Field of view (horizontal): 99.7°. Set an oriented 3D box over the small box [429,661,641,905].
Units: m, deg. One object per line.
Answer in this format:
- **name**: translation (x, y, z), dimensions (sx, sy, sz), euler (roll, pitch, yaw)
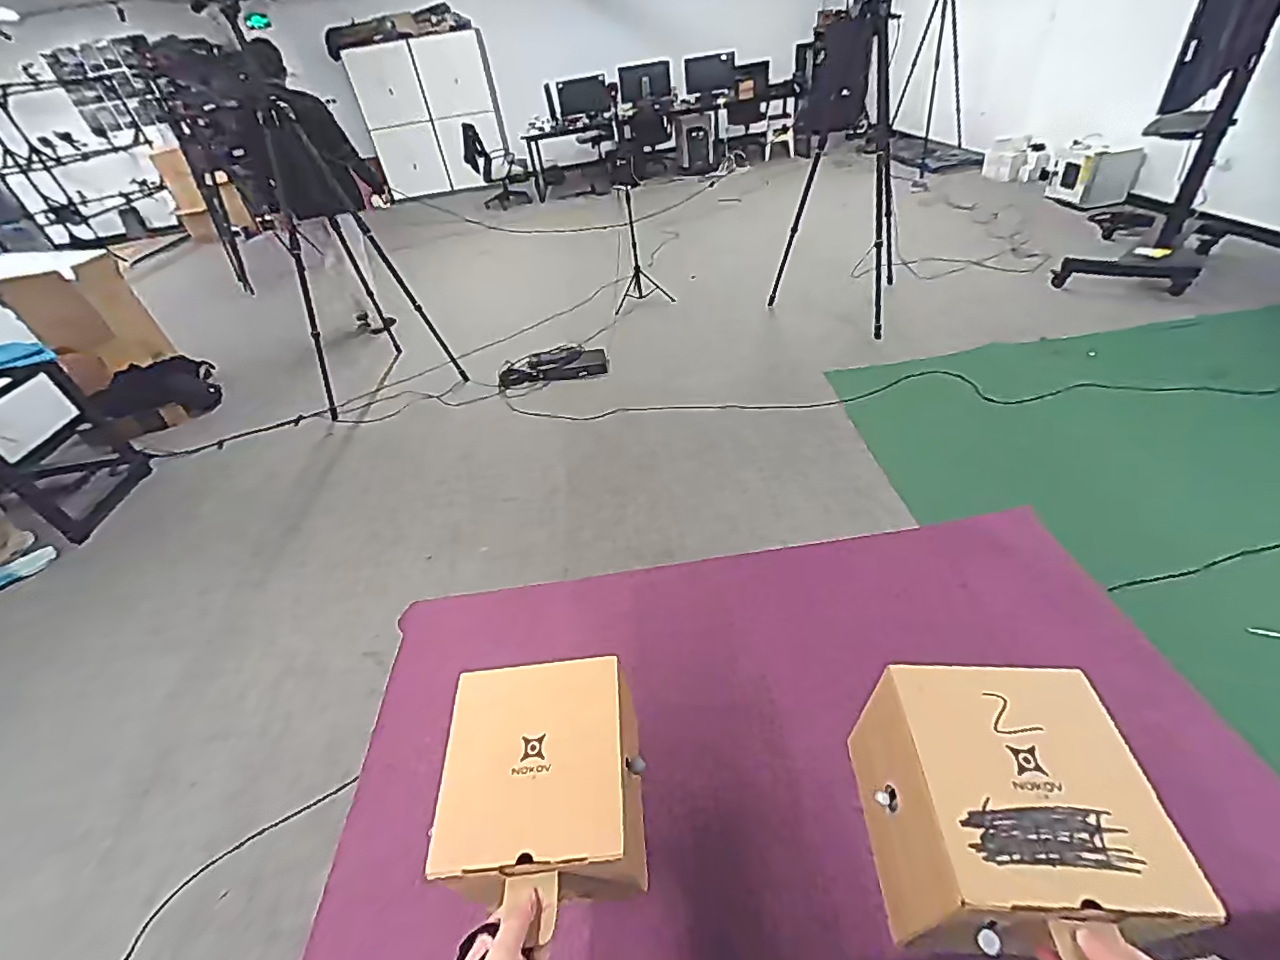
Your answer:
- **small box**: translation (-0.092, 0.314, 0.561), dimensions (0.168, 0.176, 0.179), euler (-7, 46, 2)
